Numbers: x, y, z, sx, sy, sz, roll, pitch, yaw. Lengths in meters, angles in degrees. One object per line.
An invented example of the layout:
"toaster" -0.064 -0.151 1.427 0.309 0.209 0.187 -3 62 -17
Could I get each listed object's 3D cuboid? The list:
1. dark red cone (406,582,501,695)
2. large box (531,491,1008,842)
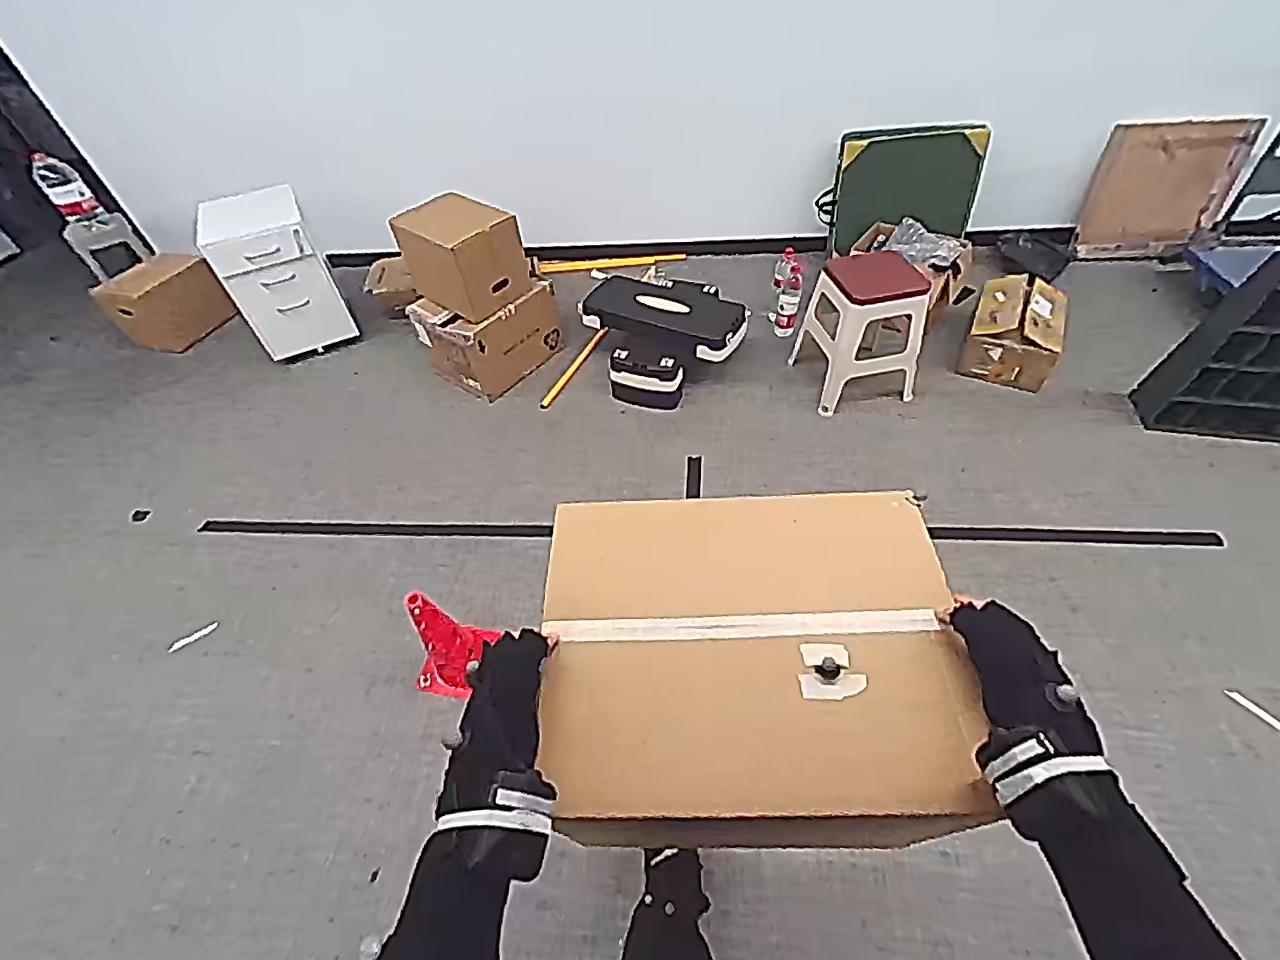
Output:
"dark red cone" -0.517 0.383 1.394 0.201 0.394 0.202 6 50 9
"large box" 0.110 0.234 0.653 0.408 0.320 0.320 -2 52 3
